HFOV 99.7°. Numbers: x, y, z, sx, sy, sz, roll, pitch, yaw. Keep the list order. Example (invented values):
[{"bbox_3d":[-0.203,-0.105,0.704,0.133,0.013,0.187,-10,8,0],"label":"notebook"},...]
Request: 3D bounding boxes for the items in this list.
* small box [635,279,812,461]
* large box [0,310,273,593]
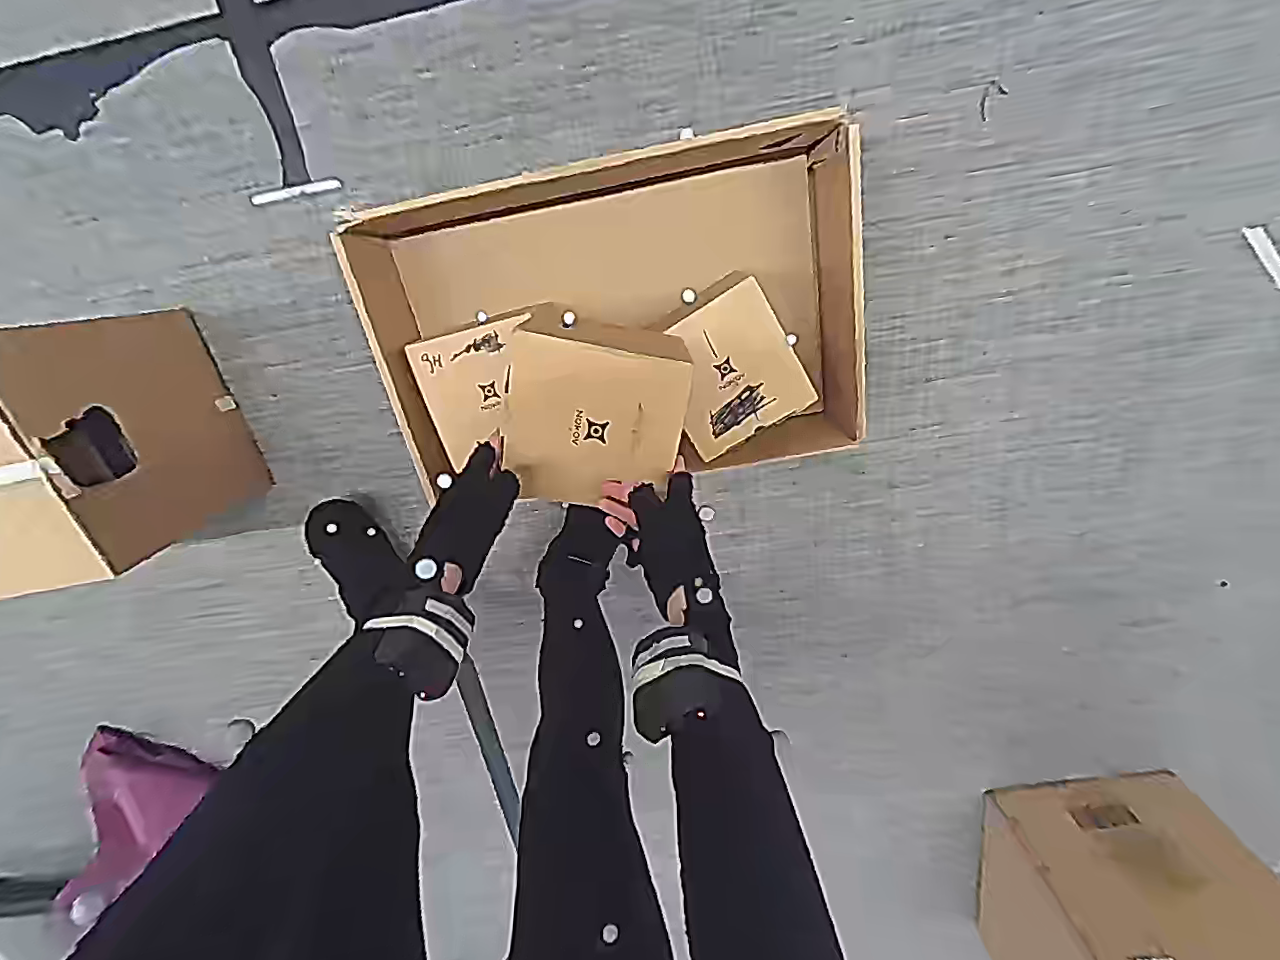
[{"bbox_3d":[0.111,-0.160,0.749,0.168,0.176,0.179,-30,107,14],"label":"small box"},{"bbox_3d":[-0.874,-0.042,0.789,0.408,0.320,0.320,-11,112,5],"label":"large box"}]
